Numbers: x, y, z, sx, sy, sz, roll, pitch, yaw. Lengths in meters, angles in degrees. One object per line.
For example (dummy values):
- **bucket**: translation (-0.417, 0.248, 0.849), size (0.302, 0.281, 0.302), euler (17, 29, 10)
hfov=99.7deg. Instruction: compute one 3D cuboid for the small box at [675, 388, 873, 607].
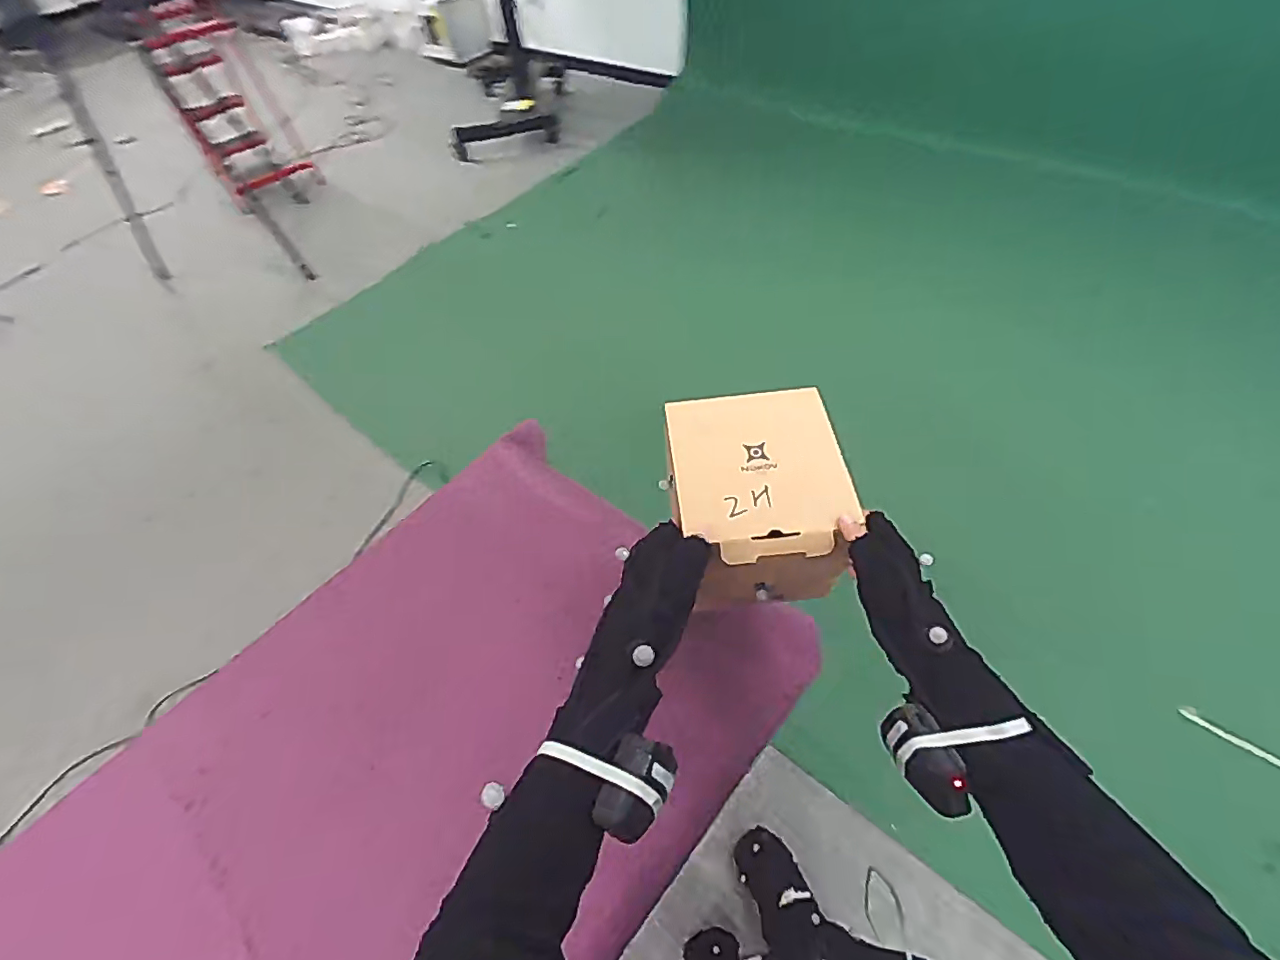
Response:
- **small box**: translation (0.127, 0.023, 0.594), size (0.168, 0.176, 0.179), euler (-5, 57, 1)
